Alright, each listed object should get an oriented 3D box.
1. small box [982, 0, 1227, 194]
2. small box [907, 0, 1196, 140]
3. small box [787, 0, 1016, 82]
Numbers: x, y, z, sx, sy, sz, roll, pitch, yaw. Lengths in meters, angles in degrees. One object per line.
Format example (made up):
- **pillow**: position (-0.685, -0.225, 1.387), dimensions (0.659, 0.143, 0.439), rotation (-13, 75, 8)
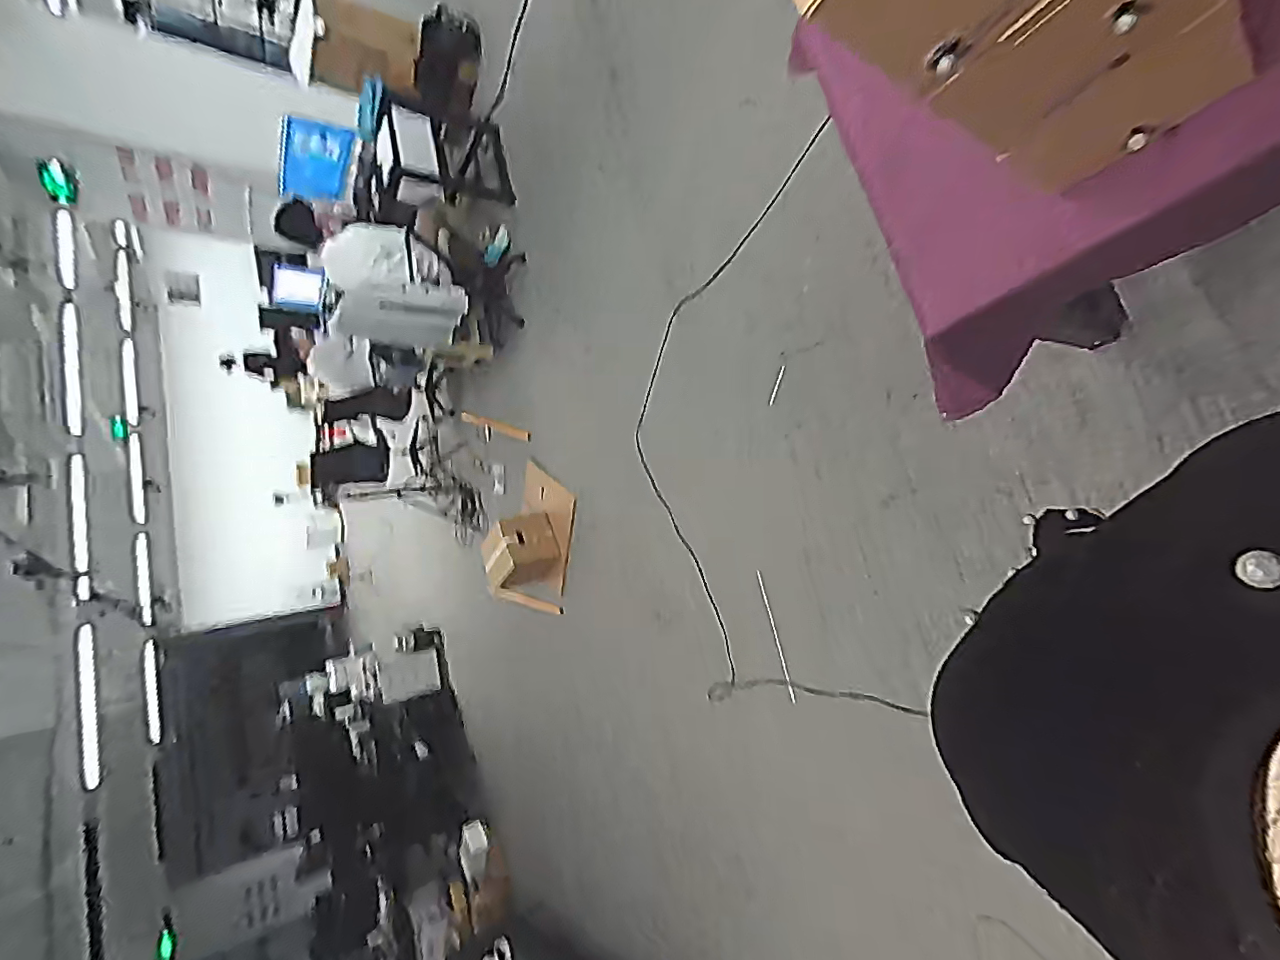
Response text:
- **small box**: position (0.464, -0.441, 0.567), dimensions (0.179, 0.176, 0.168), rotation (-27, 72, 51)
- **small box**: position (0.333, -0.435, 0.469), dimensions (0.168, 0.176, 0.179), rotation (-24, 74, 51)
- **small box**: position (0.197, -0.426, 0.376), dimensions (0.168, 0.176, 0.179), rotation (-29, 70, 50)
